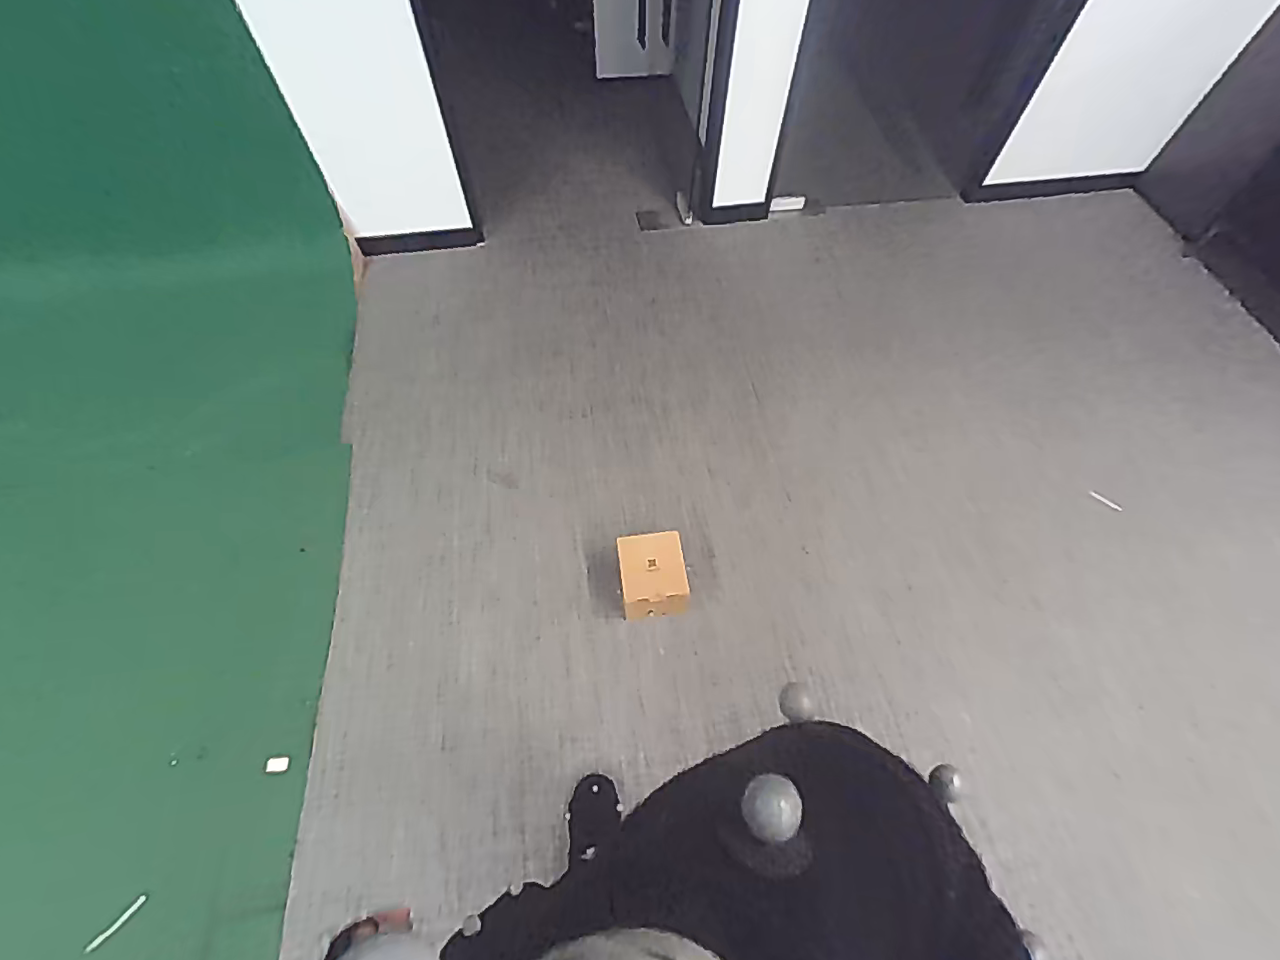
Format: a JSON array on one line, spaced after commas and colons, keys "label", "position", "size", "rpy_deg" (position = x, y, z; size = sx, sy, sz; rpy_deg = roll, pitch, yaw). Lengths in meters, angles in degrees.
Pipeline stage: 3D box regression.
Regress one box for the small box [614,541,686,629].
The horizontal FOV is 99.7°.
[{"label": "small box", "position": [0.020, 0.280, 1.438], "size": [0.168, 0.176, 0.179], "rpy_deg": [-6, 60, -5]}]
